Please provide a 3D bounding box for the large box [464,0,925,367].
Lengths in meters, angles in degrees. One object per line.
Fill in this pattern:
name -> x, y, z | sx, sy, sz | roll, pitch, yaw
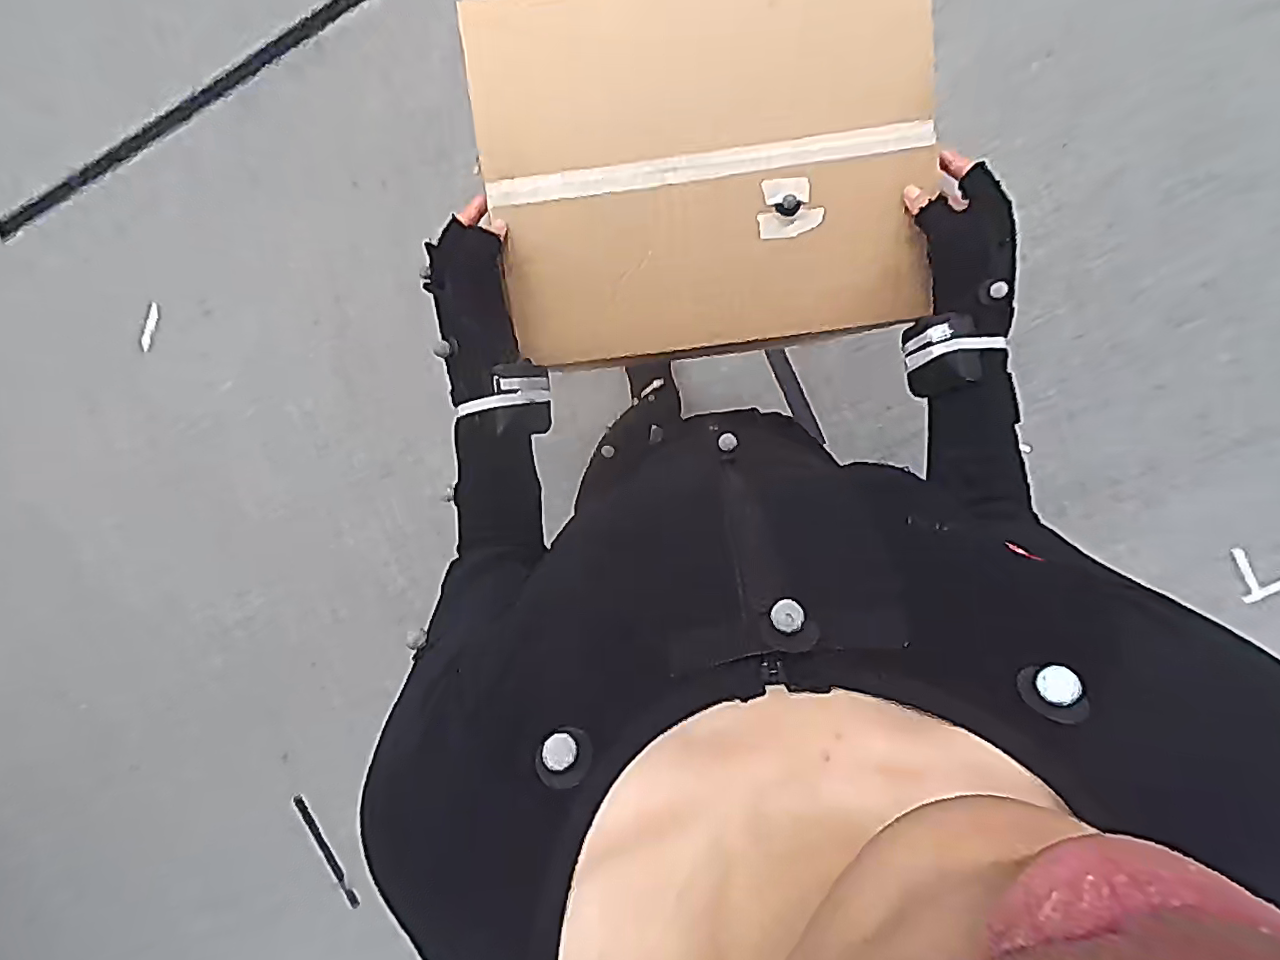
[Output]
large box -> 0.057, -0.322, 0.645 | 0.408, 0.320, 0.320 | -7, 100, 1
